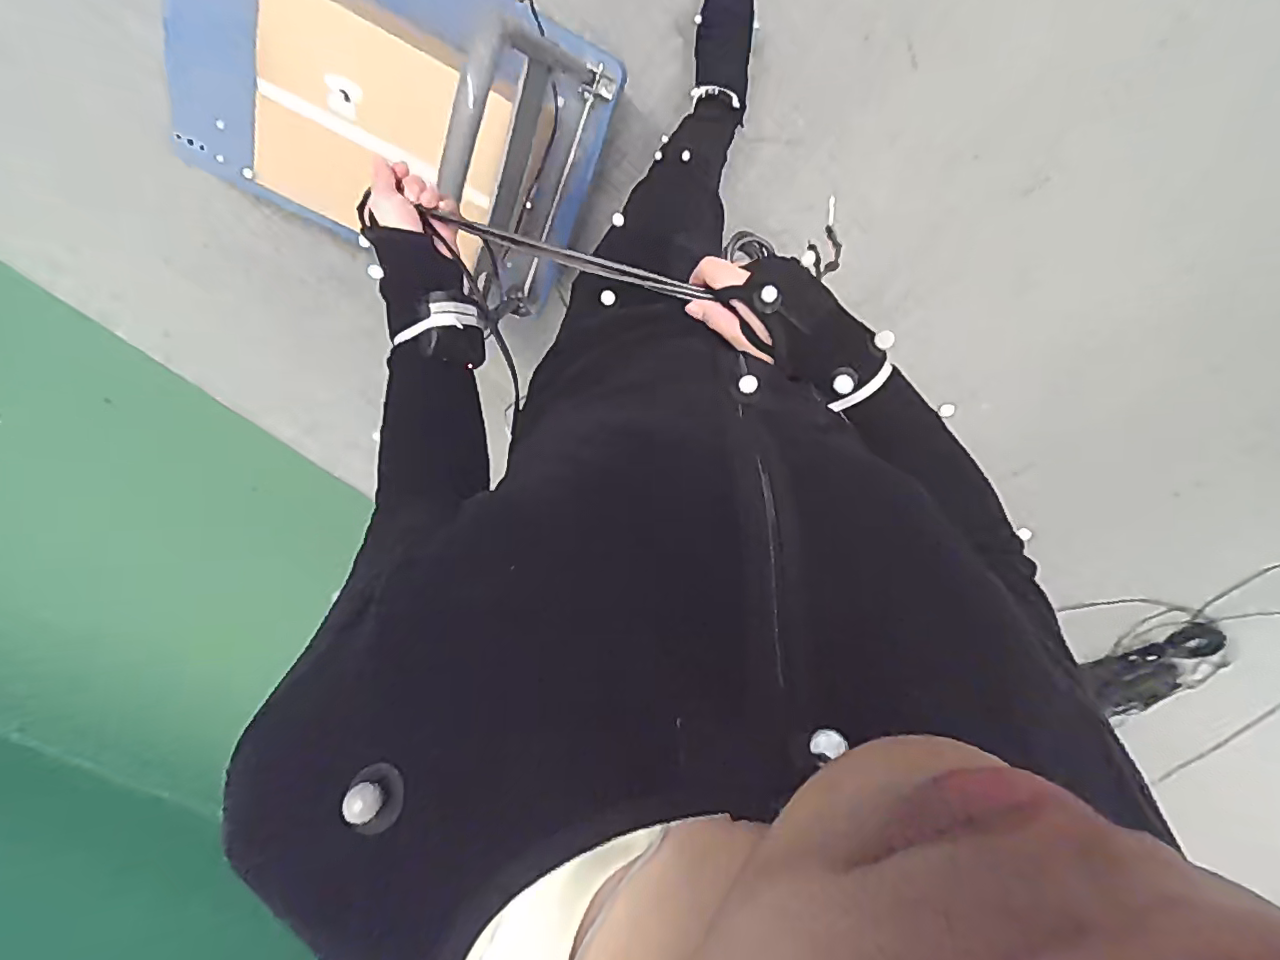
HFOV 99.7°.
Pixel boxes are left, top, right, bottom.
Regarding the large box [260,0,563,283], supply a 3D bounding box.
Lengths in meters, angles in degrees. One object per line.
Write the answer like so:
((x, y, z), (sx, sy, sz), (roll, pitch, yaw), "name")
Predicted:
((-0.405, -0.636, 1.014), (0.408, 0.320, 0.320), (24, 123, -11), "large box")
